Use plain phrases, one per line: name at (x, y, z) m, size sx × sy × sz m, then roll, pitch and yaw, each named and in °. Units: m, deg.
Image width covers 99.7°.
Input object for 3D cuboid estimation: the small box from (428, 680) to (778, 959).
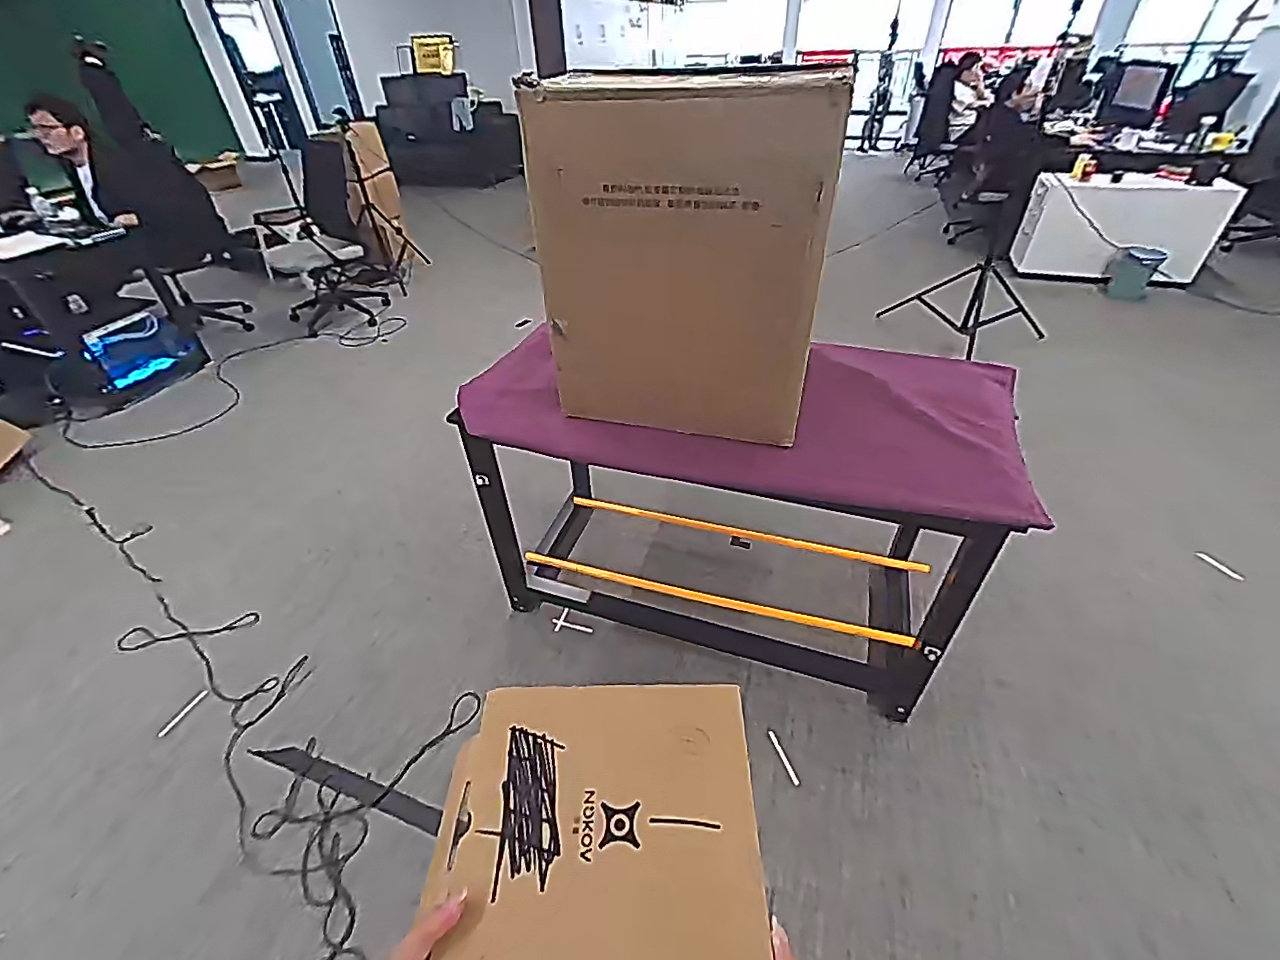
small box at (-0.014, 0.253, 0.365) m, size 0.179 × 0.176 × 0.168 m, roll -1°, pitch 43°, yaw 2°
